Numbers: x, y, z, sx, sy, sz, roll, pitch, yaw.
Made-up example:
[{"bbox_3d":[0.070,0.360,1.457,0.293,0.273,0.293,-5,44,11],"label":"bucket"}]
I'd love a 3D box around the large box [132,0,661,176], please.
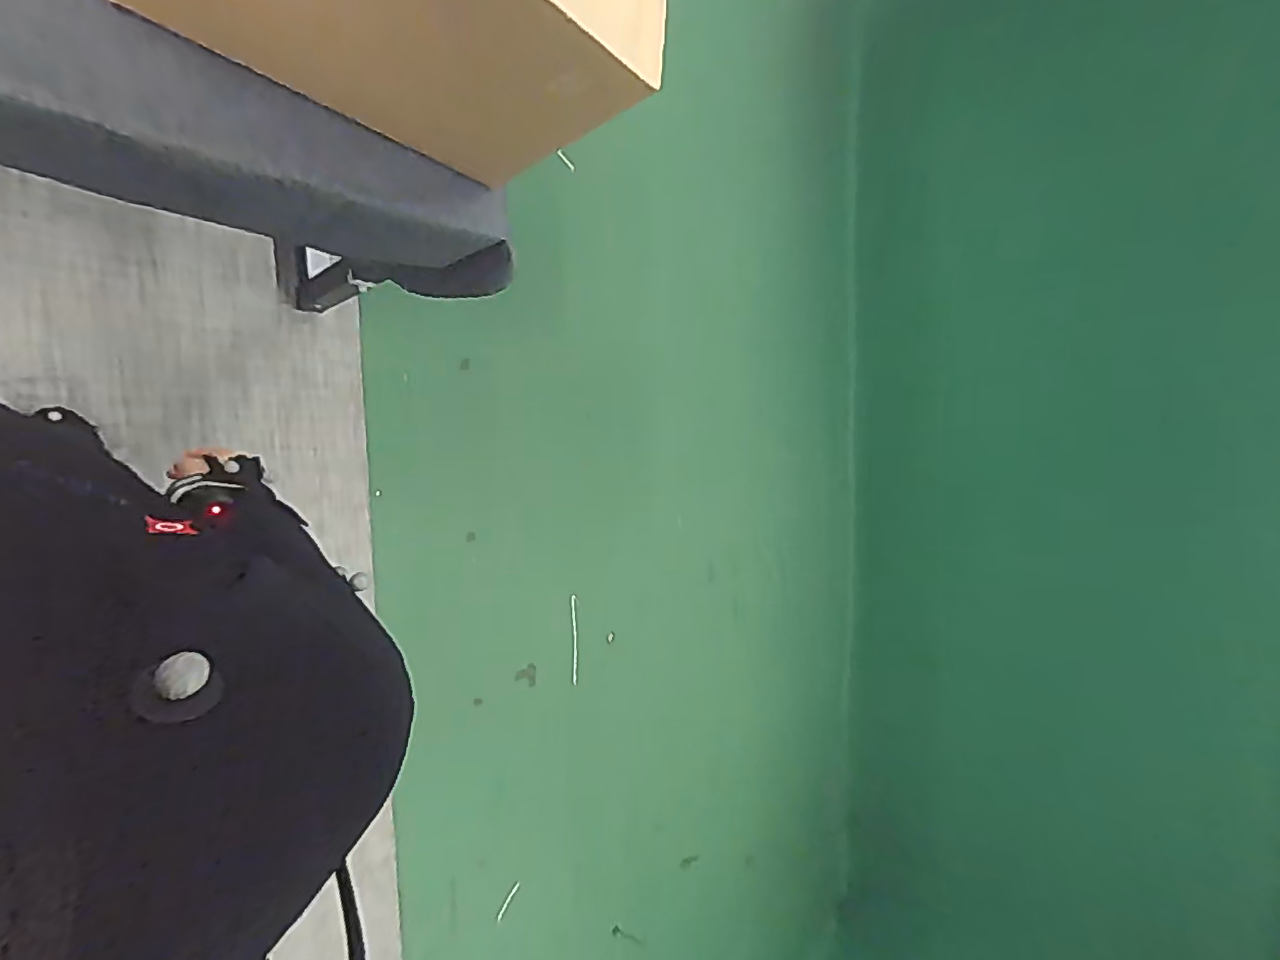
[{"bbox_3d":[-0.222,-0.572,0.518,0.408,0.320,0.320,1,92,-49],"label":"large box"}]
